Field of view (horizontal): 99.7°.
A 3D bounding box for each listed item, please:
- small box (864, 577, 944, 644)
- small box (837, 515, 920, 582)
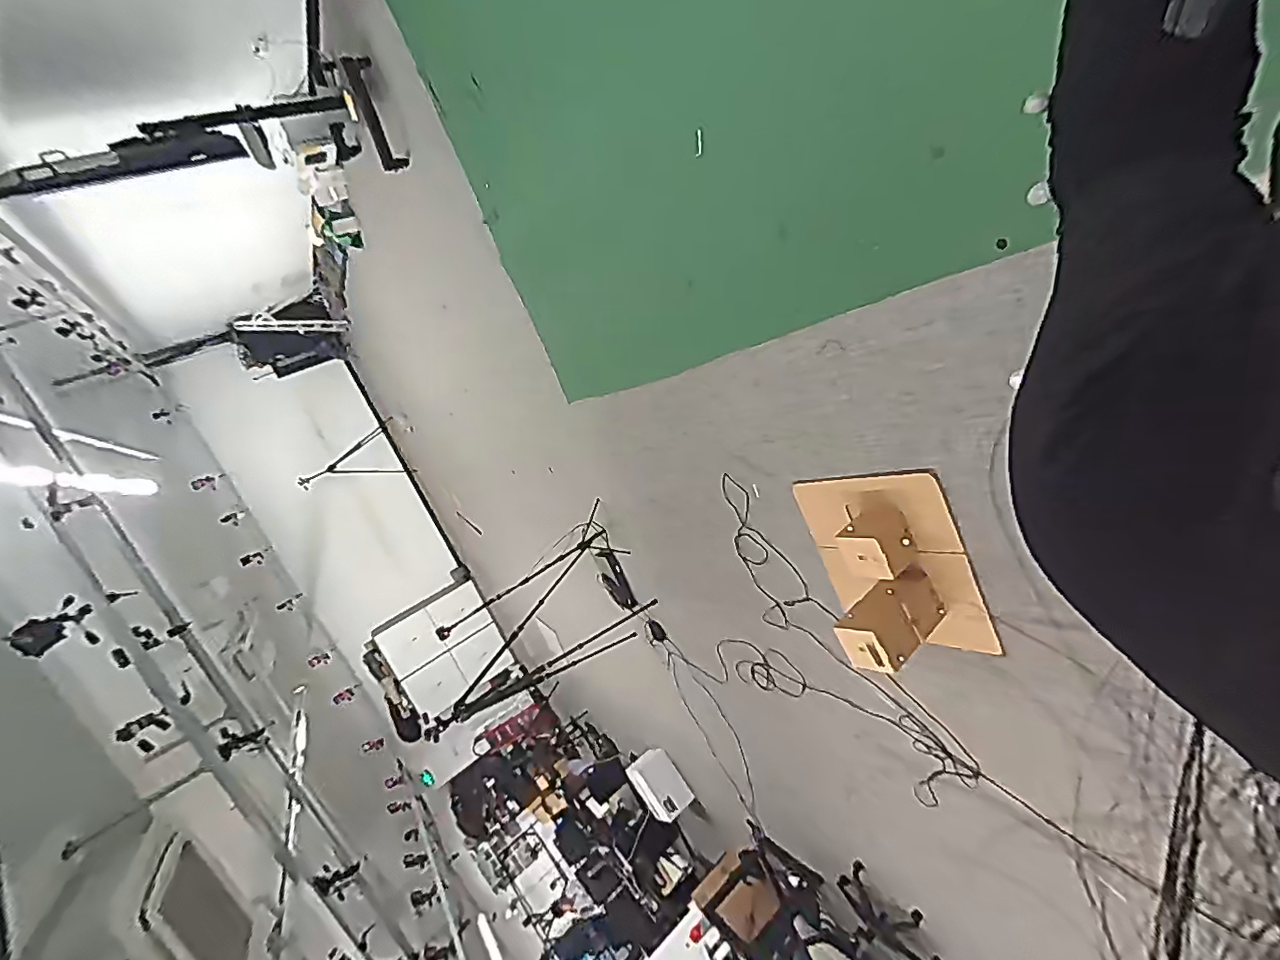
[{"bbox_3d":[0.941,0.455,1.912,0.168,0.176,0.179,62,152,-6],"label":"small box"},{"bbox_3d":[0.830,0.232,1.880,0.179,0.176,0.168,-9,111,60],"label":"small box"}]
